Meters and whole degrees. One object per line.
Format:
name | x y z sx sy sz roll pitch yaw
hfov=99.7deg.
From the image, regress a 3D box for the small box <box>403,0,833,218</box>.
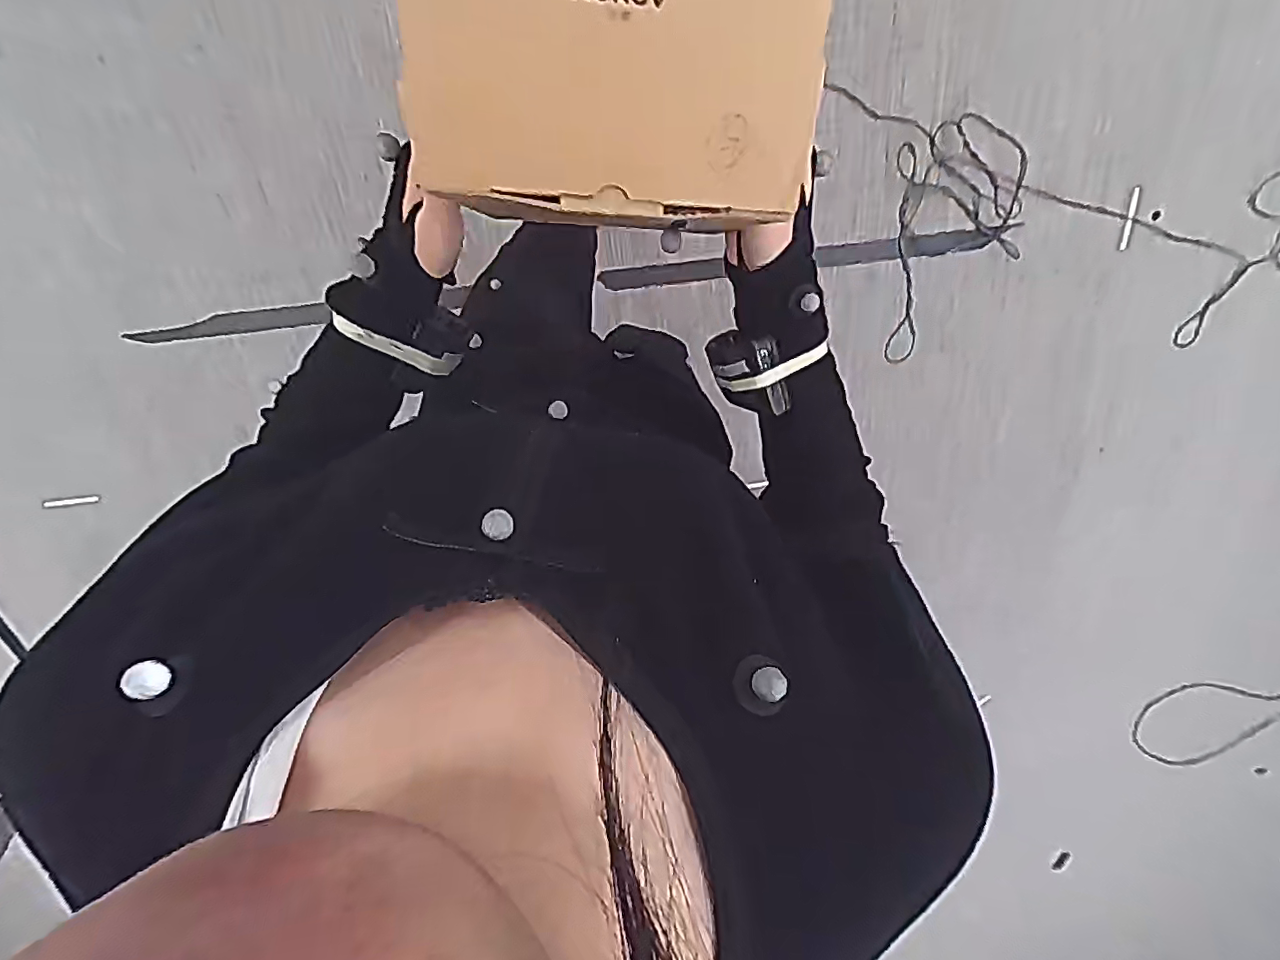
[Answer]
small box | -0.011 -0.235 0.269 0.168 0.176 0.179 1 112 -6
